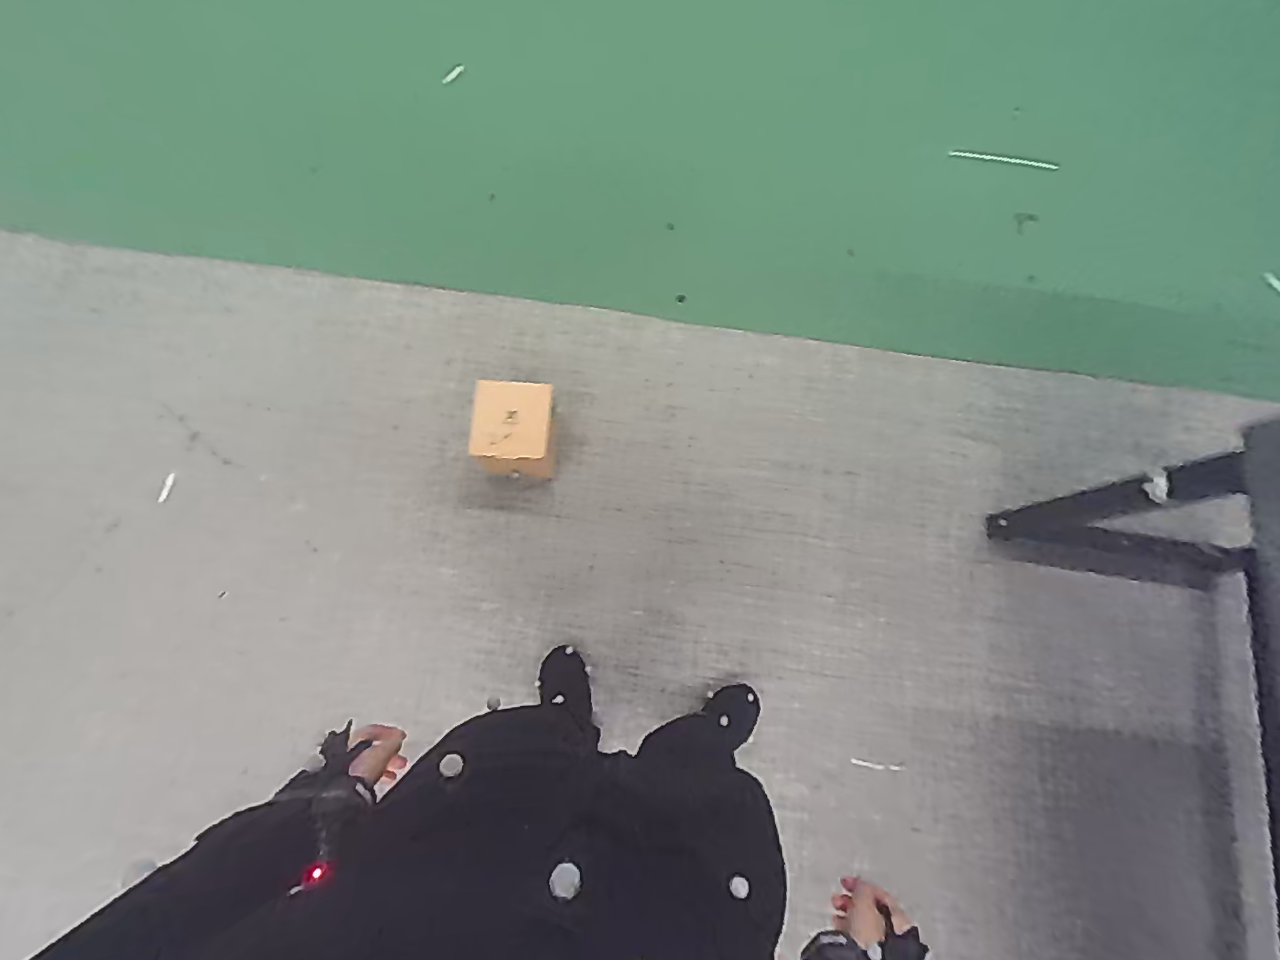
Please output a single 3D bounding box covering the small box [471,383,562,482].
[{"bbox_3d":[-0.275,-0.104,1.246,0.168,0.176,0.179,3,75,0],"label":"small box"}]
